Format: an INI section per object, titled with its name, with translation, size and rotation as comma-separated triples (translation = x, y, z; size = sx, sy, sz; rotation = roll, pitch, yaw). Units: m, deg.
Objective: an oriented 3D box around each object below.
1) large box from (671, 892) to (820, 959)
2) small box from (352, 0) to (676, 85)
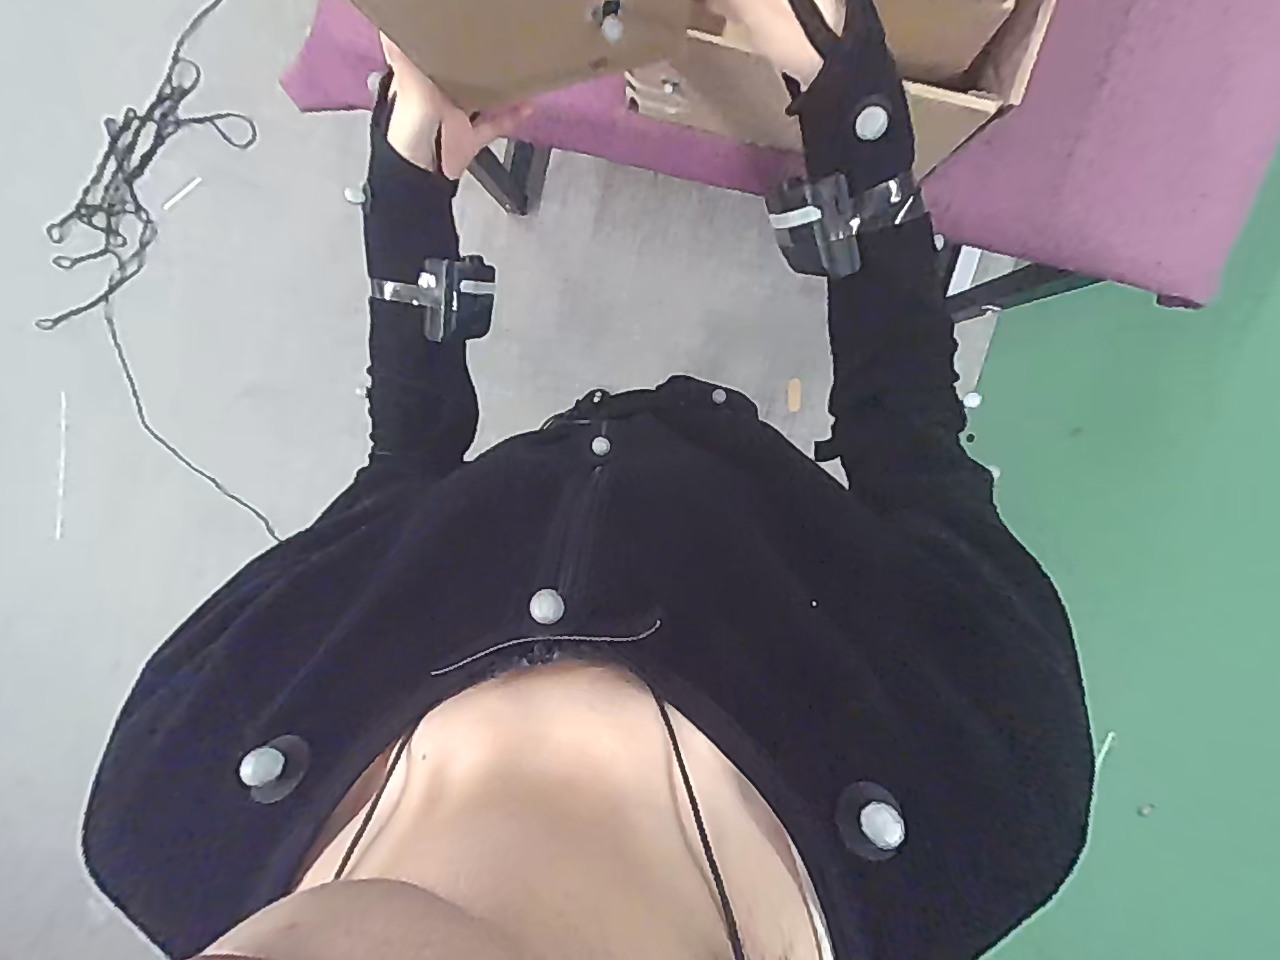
[large box]
translation = 0.292, 1.436, 1.526
size = 0.408, 0.320, 0.320
rotation = 0, 98, 3
[small box]
translation = -0.072, -0.343, 0.283
size = 0.168, 0.176, 0.179
rotation = -10, 107, 5
